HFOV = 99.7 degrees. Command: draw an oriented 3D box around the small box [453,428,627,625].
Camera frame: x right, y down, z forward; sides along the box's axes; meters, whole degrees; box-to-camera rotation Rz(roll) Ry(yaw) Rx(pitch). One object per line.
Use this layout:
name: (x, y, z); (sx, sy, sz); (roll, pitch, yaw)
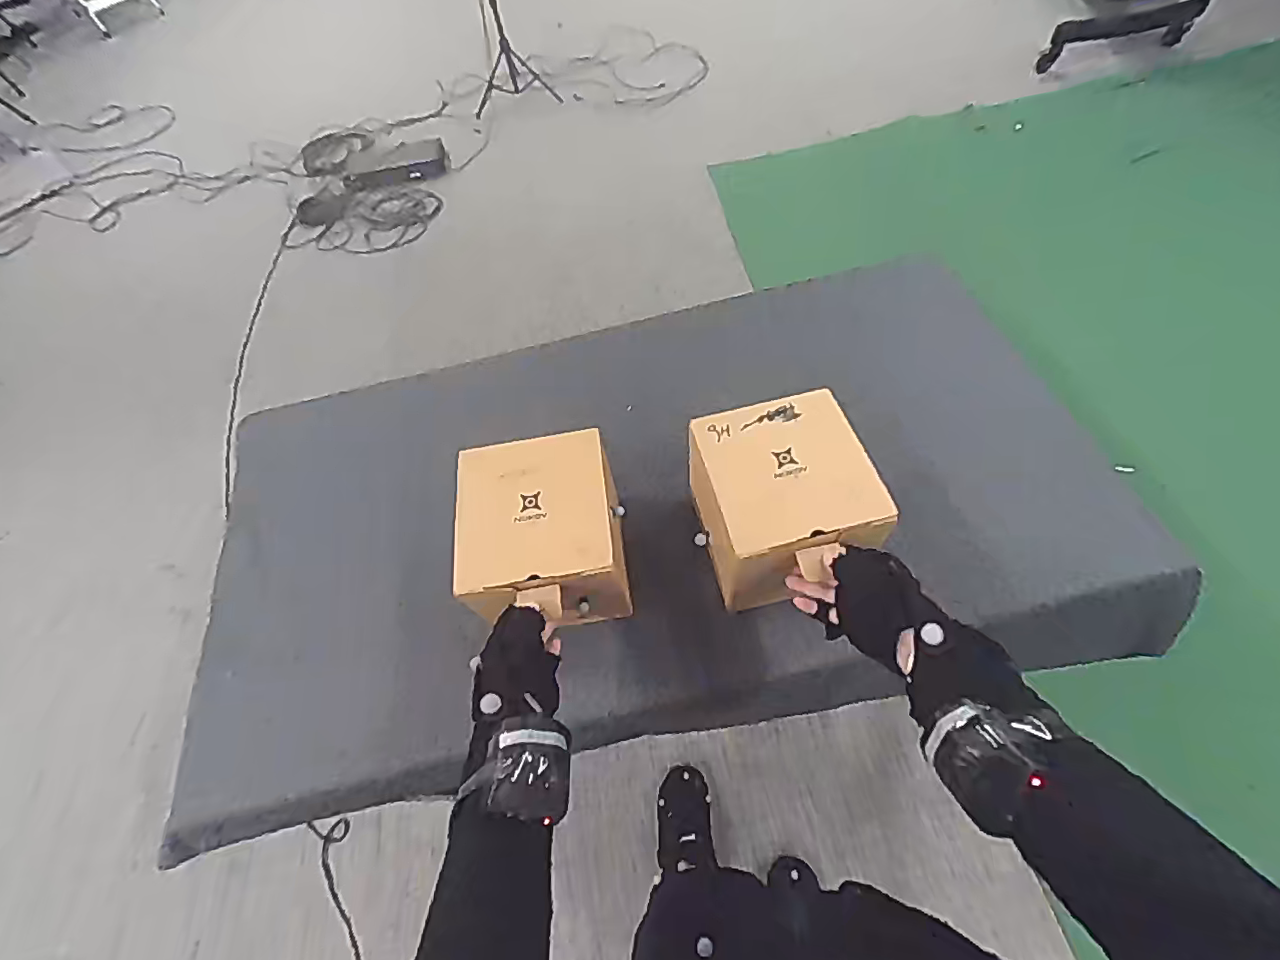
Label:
small box: (-0.112, 0.066, 0.654); (0.168, 0.176, 0.179); (-9, 58, -1)
